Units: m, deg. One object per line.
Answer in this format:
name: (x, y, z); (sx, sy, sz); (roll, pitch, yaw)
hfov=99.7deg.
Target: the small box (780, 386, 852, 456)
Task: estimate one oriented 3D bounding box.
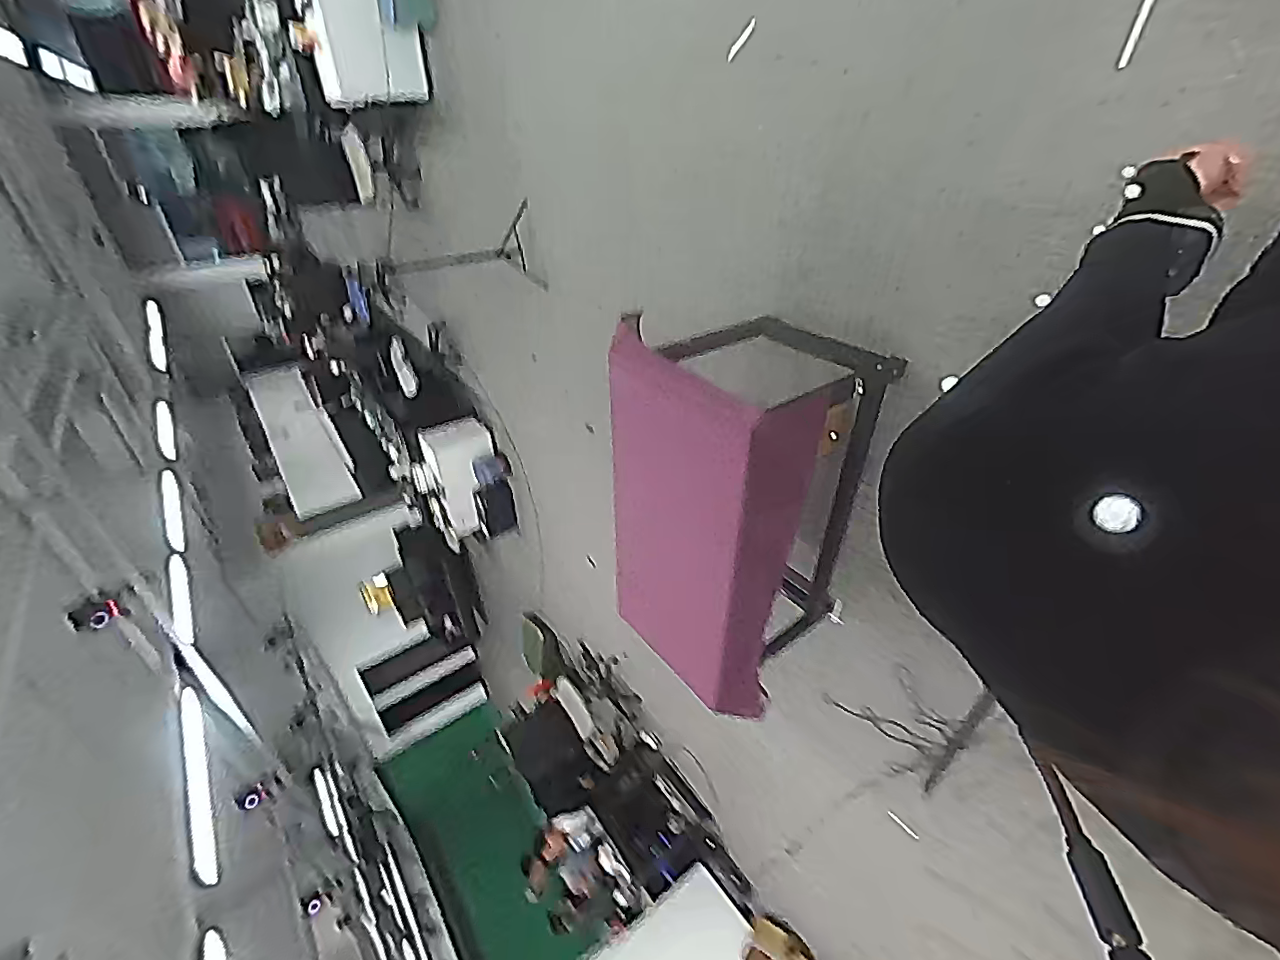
small box: (0.640, -0.220, 1.959); (0.168, 0.176, 0.179); (39, 141, 40)
